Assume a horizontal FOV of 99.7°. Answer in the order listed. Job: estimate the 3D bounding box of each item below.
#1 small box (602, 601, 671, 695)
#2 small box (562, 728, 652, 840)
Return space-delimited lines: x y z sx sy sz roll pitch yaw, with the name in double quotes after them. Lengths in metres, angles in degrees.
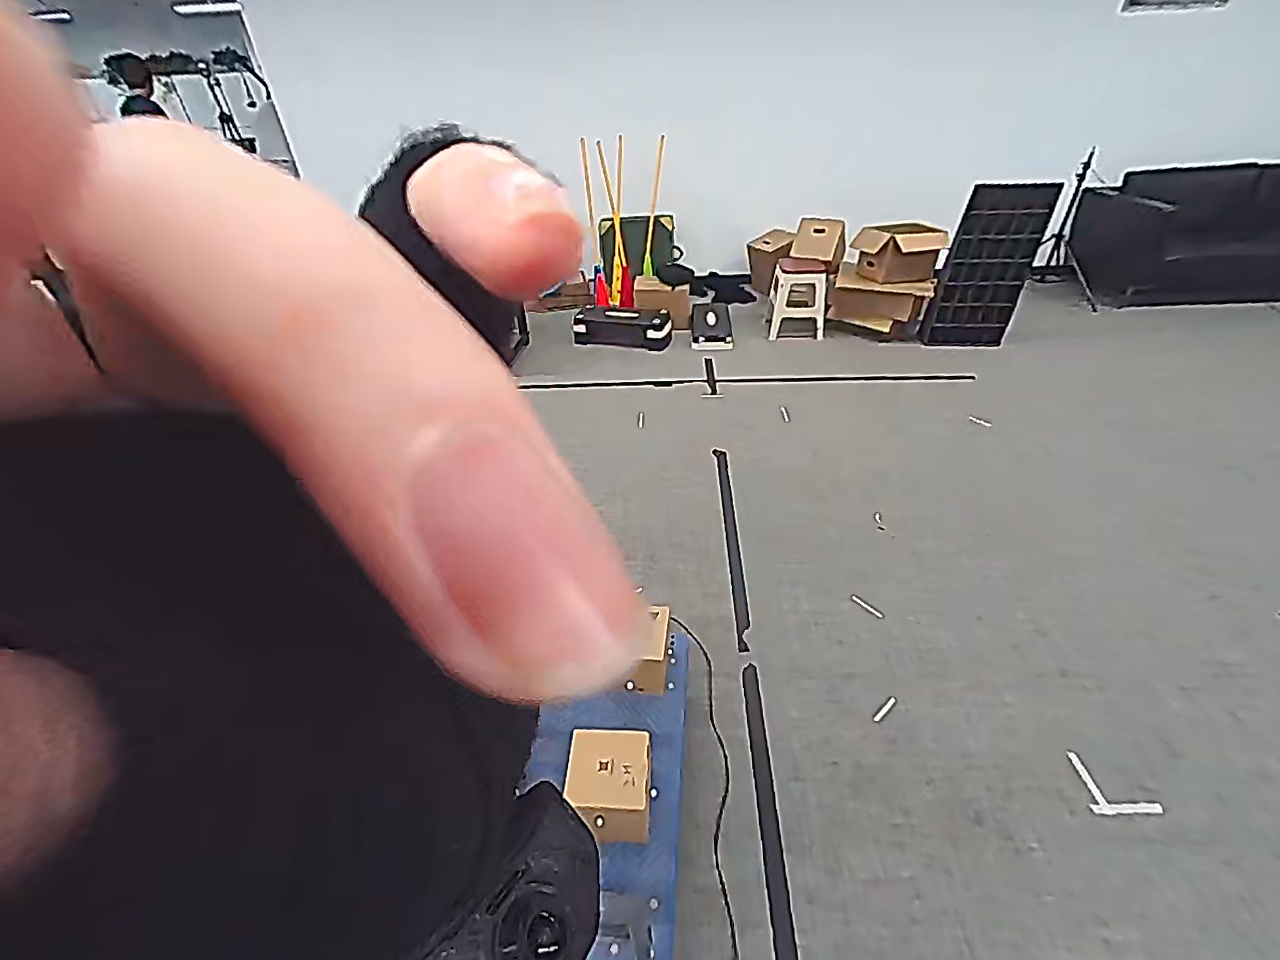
-0.006 0.465 1.498 0.168 0.176 0.179 4 38 8 "small box"
-0.067 0.681 1.210 0.179 0.176 0.168 1 37 4 "small box"
